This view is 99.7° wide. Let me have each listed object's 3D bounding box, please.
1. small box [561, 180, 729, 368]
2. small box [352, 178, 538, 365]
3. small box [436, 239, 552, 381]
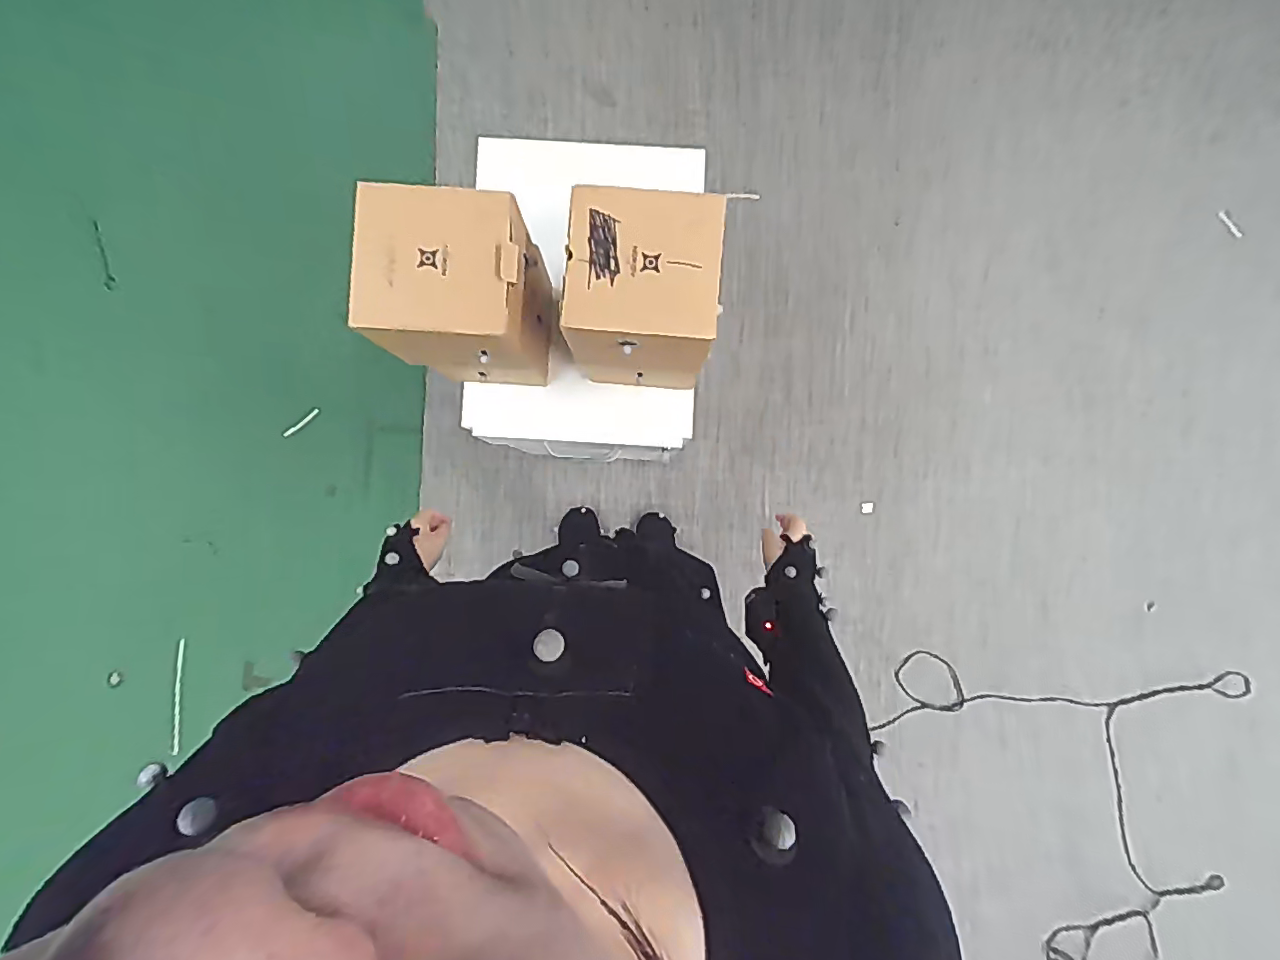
[{"bbox_3d":[0.007,-0.244,0.678,0.179,0.176,0.168,5,89,0],"label":"small box"},{"bbox_3d":[-0.228,-0.246,0.677,0.179,0.176,0.168,2,88,-1],"label":"small box"},{"bbox_3d":[-0.232,-0.258,0.839,0.168,0.176,0.179,4,88,-2],"label":"small box"}]
